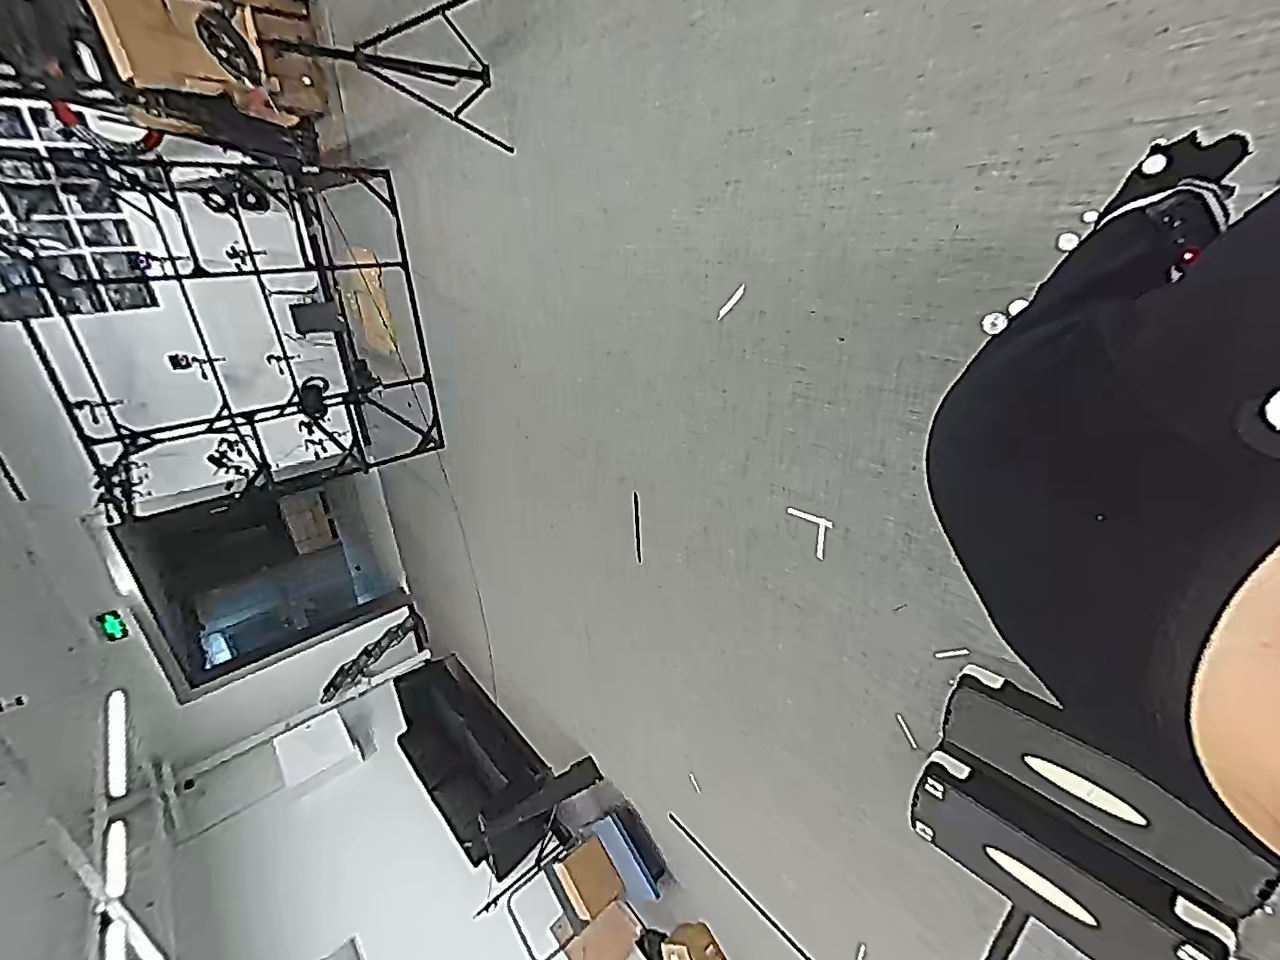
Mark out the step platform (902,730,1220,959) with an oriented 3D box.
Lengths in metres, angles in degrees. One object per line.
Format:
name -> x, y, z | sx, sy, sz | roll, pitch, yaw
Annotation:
step platform -> 1.110, 1.037, 1.514 | 0.684, 0.204, 0.286 | 24, 125, 45
